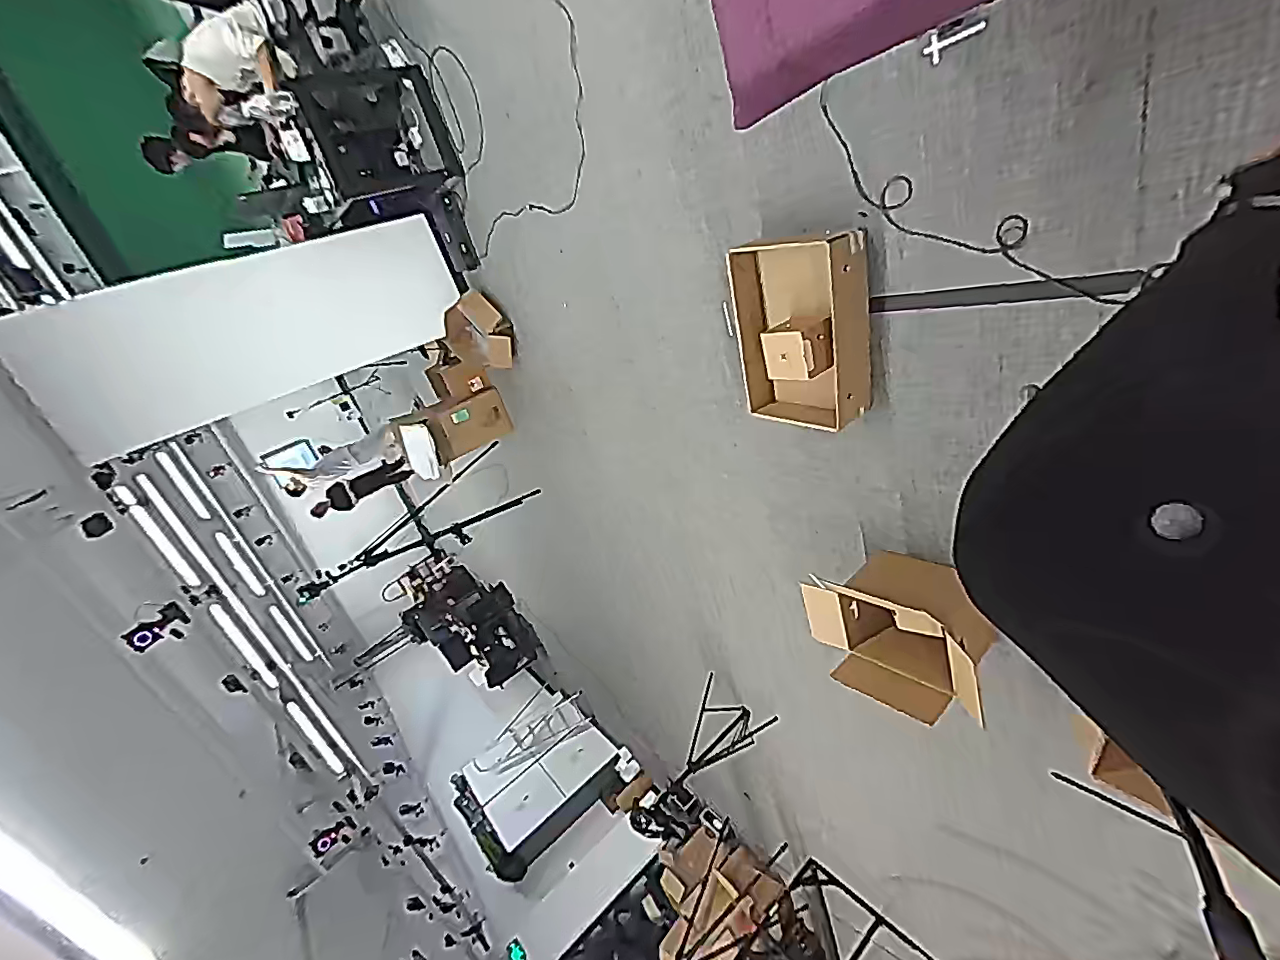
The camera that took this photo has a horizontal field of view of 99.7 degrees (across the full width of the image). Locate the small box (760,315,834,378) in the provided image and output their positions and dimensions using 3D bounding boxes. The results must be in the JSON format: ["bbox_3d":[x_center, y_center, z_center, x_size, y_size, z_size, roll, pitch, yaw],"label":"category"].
[{"bbox_3d":[0.542,-0.455,1.838,0.179,0.176,0.168,16,129,51],"label":"small box"}]
